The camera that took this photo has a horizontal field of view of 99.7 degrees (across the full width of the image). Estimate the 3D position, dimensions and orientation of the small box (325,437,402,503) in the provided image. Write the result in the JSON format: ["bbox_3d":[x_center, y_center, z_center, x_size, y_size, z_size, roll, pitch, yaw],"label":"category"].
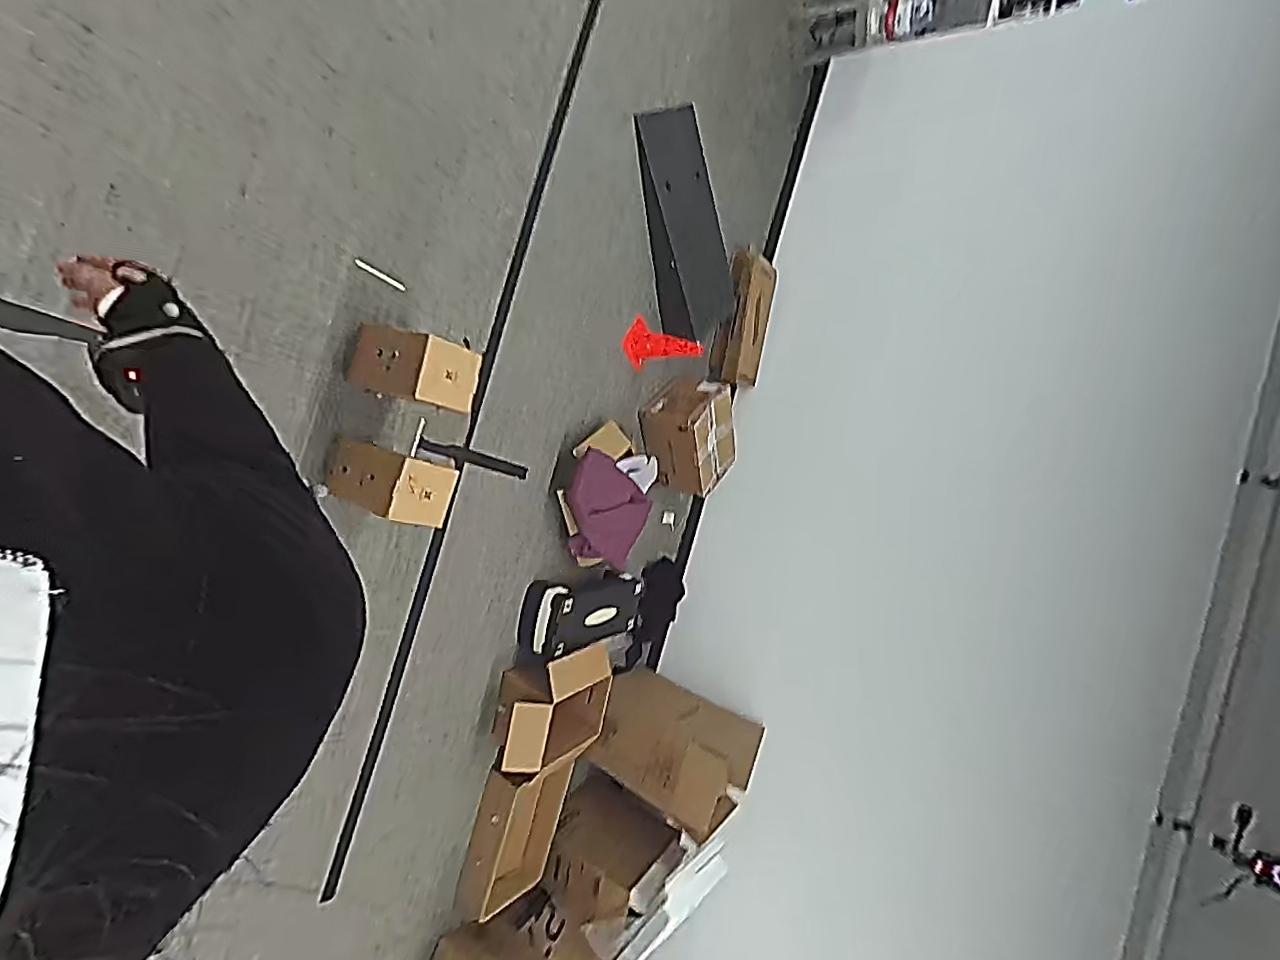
[{"bbox_3d":[-0.767,-0.018,1.553,0.179,0.176,0.168,20,86,-58],"label":"small box"}]

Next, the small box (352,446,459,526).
[{"bbox_3d":[-0.633,0.015,1.460,0.179,0.176,0.168,23,83,-58],"label":"small box"}]

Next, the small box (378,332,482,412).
[{"bbox_3d":[-0.561,-0.290,1.446,0.179,0.176,0.168,13,91,-57],"label":"small box"}]

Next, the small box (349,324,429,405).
[{"bbox_3d":[-0.691,-0.329,1.533,0.168,0.176,0.179,17,89,-58],"label":"small box"}]
